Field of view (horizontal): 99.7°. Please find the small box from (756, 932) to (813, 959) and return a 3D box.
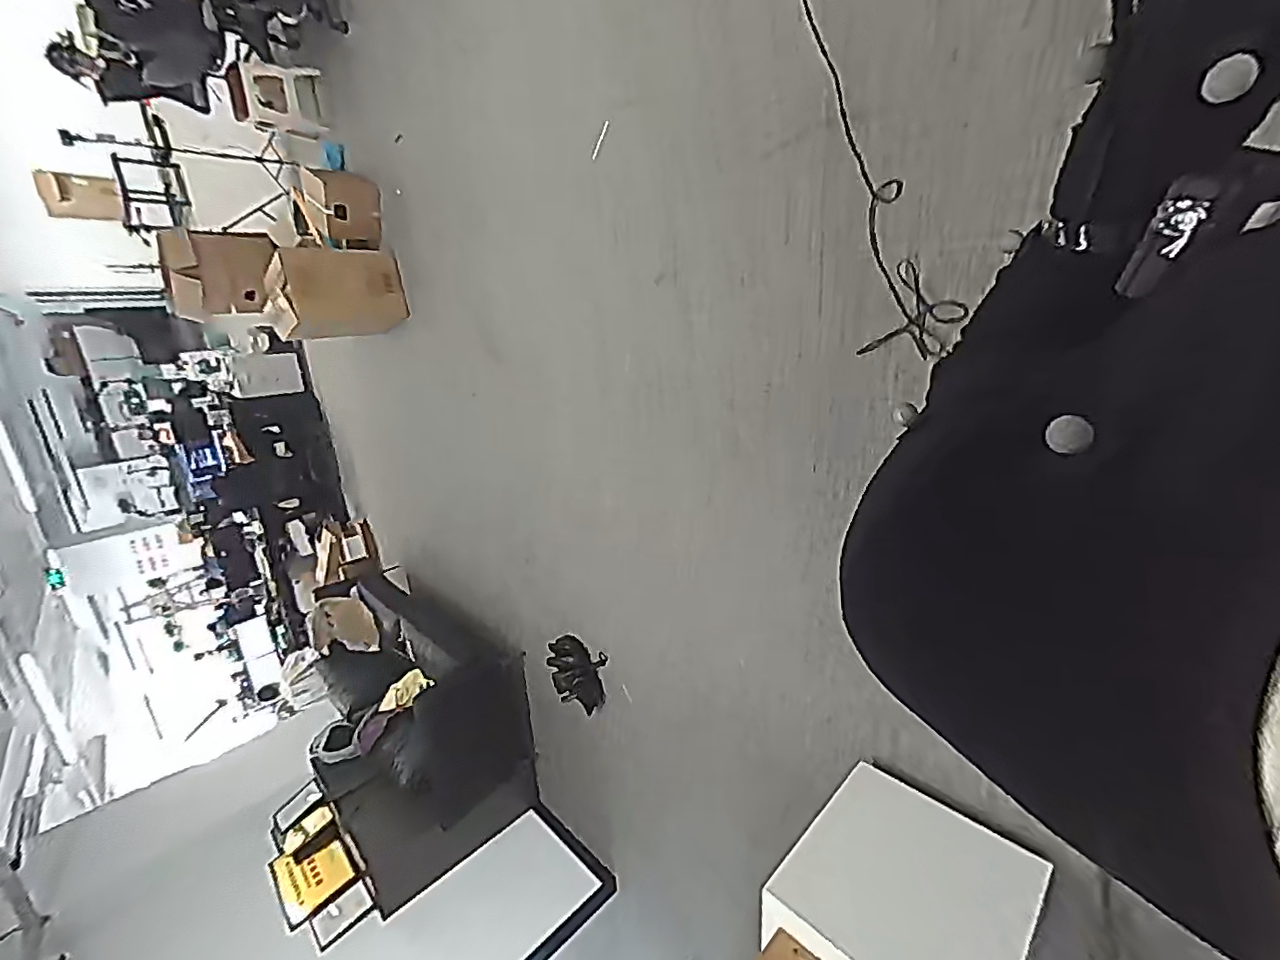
[{"bbox_3d":[0.345,1.231,1.258,0.168,0.176,0.179,11,110,45],"label":"small box"}]
